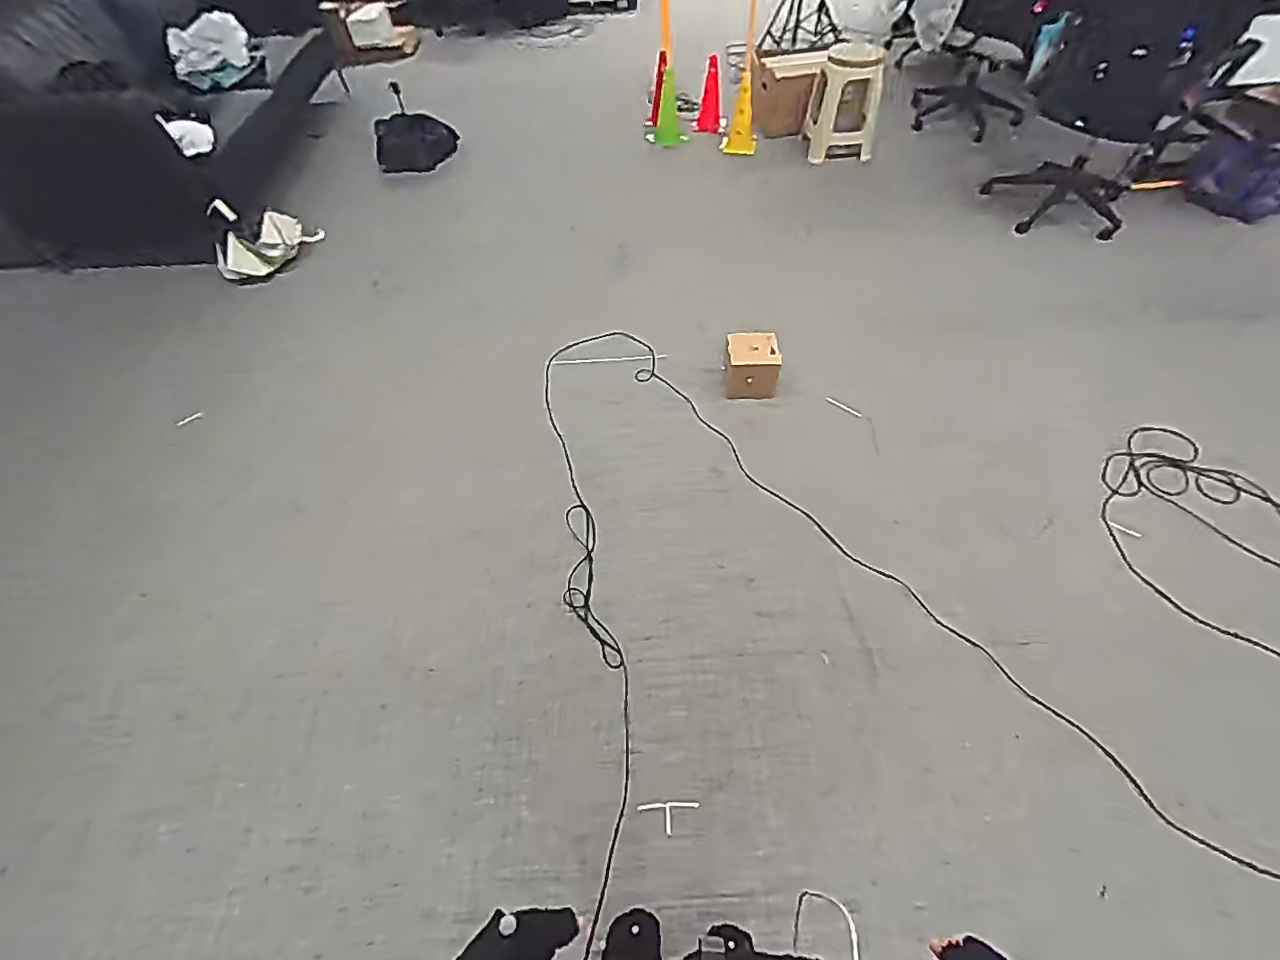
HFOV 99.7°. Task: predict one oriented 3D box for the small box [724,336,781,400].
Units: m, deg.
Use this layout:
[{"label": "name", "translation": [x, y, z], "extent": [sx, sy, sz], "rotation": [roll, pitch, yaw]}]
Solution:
[{"label": "small box", "translation": [0.400, -0.403, 1.965], "extent": [0.179, 0.176, 0.168], "rotation": [-1, 54, 1]}]
